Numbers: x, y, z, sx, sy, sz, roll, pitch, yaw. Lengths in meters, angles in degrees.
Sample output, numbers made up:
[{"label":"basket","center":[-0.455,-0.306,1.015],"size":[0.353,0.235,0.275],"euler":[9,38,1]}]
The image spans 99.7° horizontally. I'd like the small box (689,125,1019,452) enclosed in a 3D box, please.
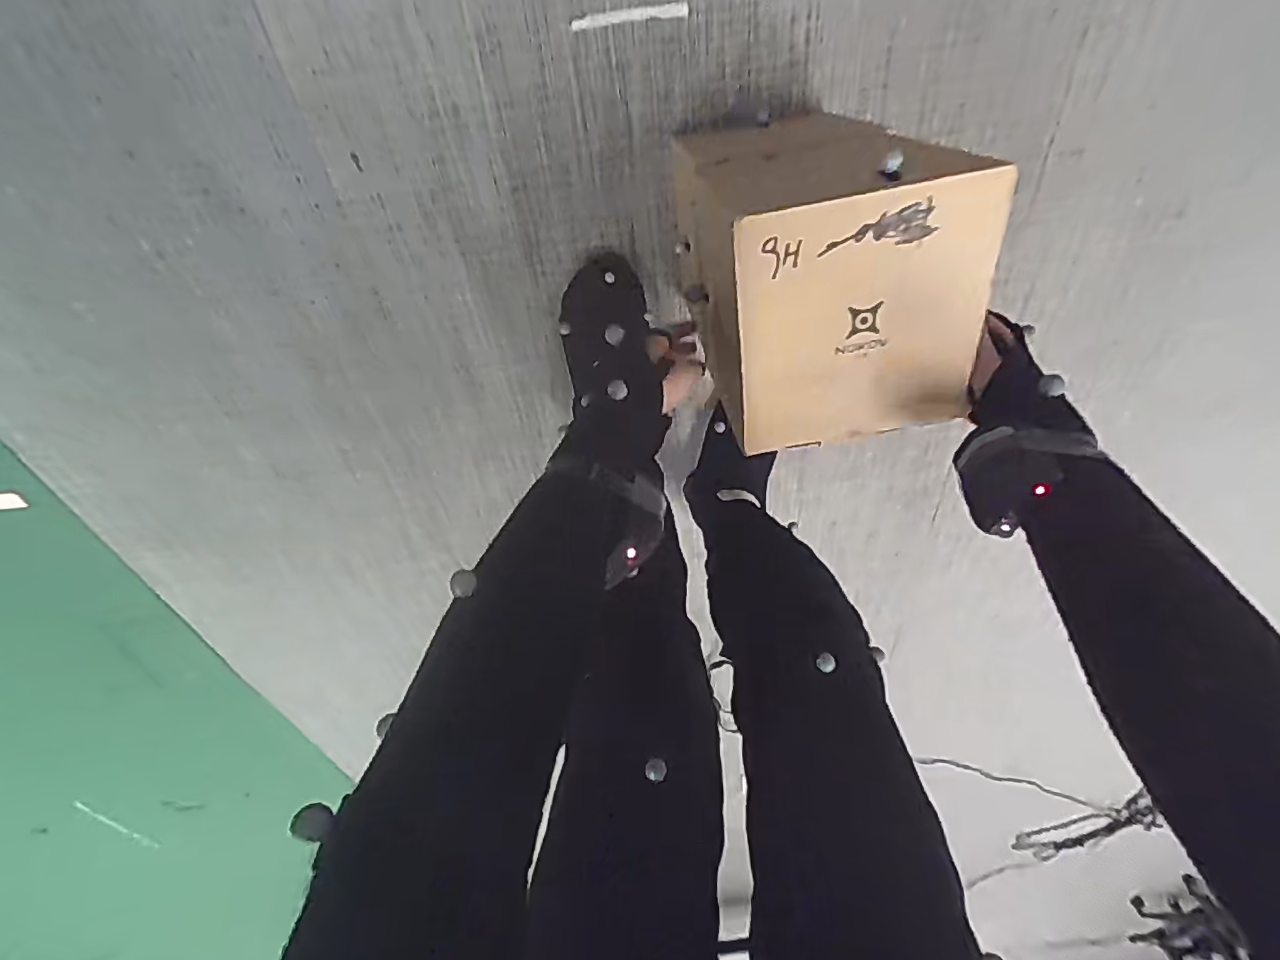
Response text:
[{"label":"small box","center":[0.137,-0.149,0.417],"size":[0.168,0.176,0.179],"euler":[-11,129,1]}]
